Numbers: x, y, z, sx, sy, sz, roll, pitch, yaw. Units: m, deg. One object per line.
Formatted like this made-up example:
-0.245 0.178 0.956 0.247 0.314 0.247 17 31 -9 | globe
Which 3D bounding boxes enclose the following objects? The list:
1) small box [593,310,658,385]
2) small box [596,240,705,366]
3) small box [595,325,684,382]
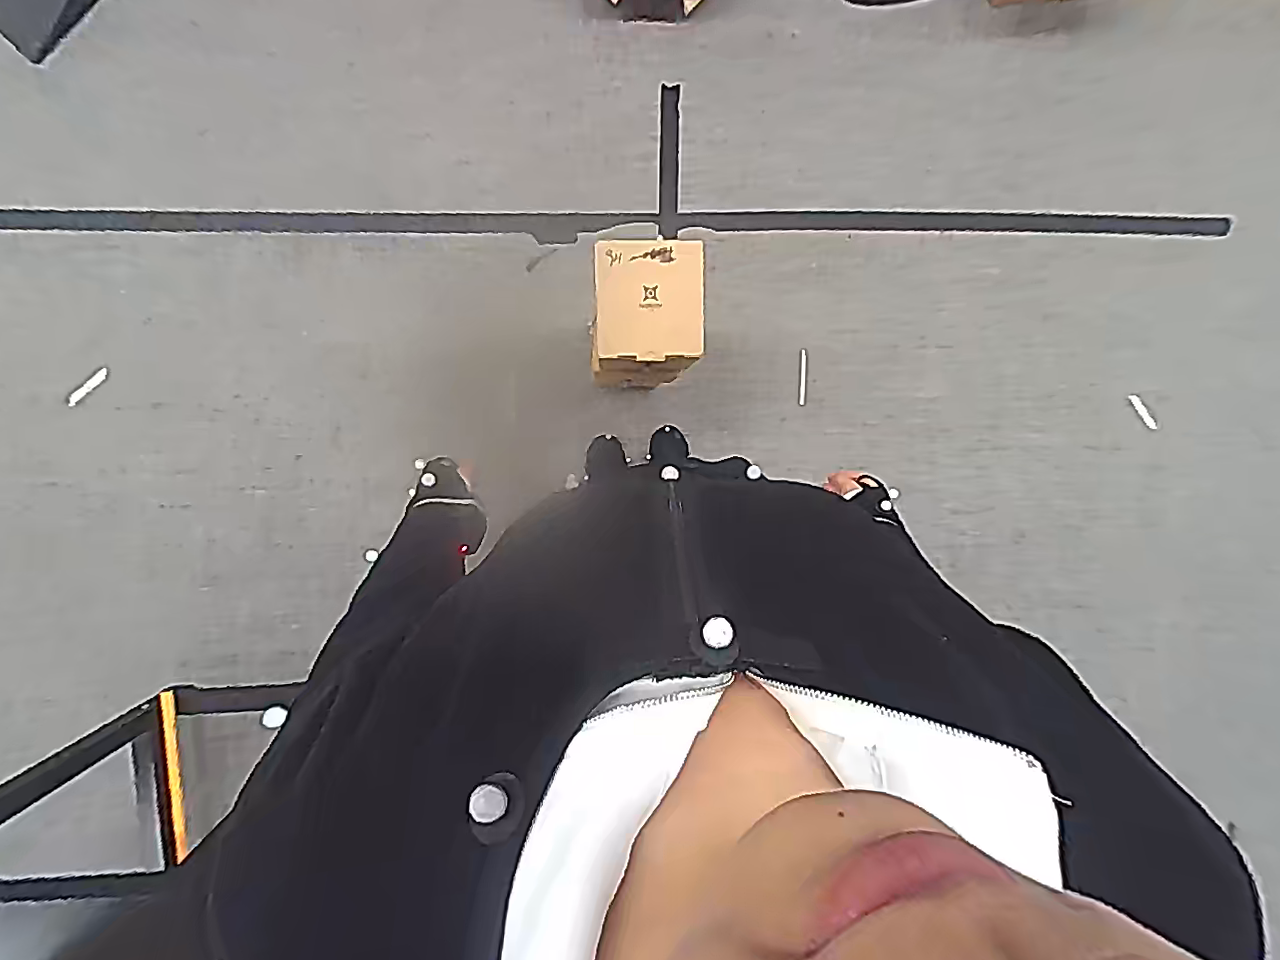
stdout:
-0.028 -0.335 1.385 0.179 0.176 0.168 3 96 -4 | small box
0.014 -0.283 0.898 0.168 0.176 0.179 -1 97 -3 | small box
-0.001 -0.291 1.061 0.168 0.176 0.179 3 97 -3 | small box
